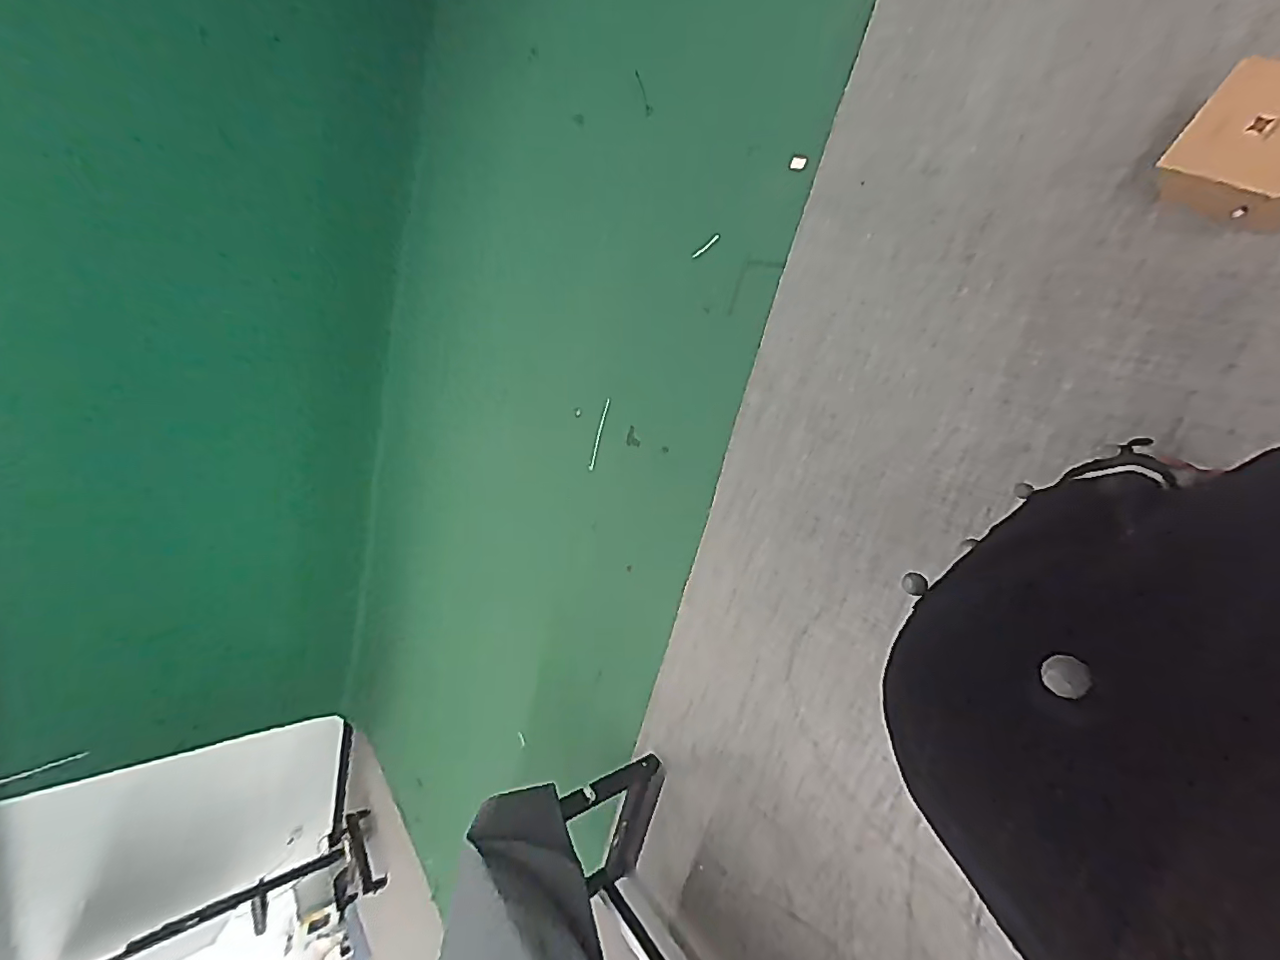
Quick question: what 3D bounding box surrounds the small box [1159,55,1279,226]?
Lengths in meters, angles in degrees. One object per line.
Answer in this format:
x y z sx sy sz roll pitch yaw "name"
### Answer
0.993 -0.526 0.854 0.179 0.176 0.168 51 125 39 "small box"
